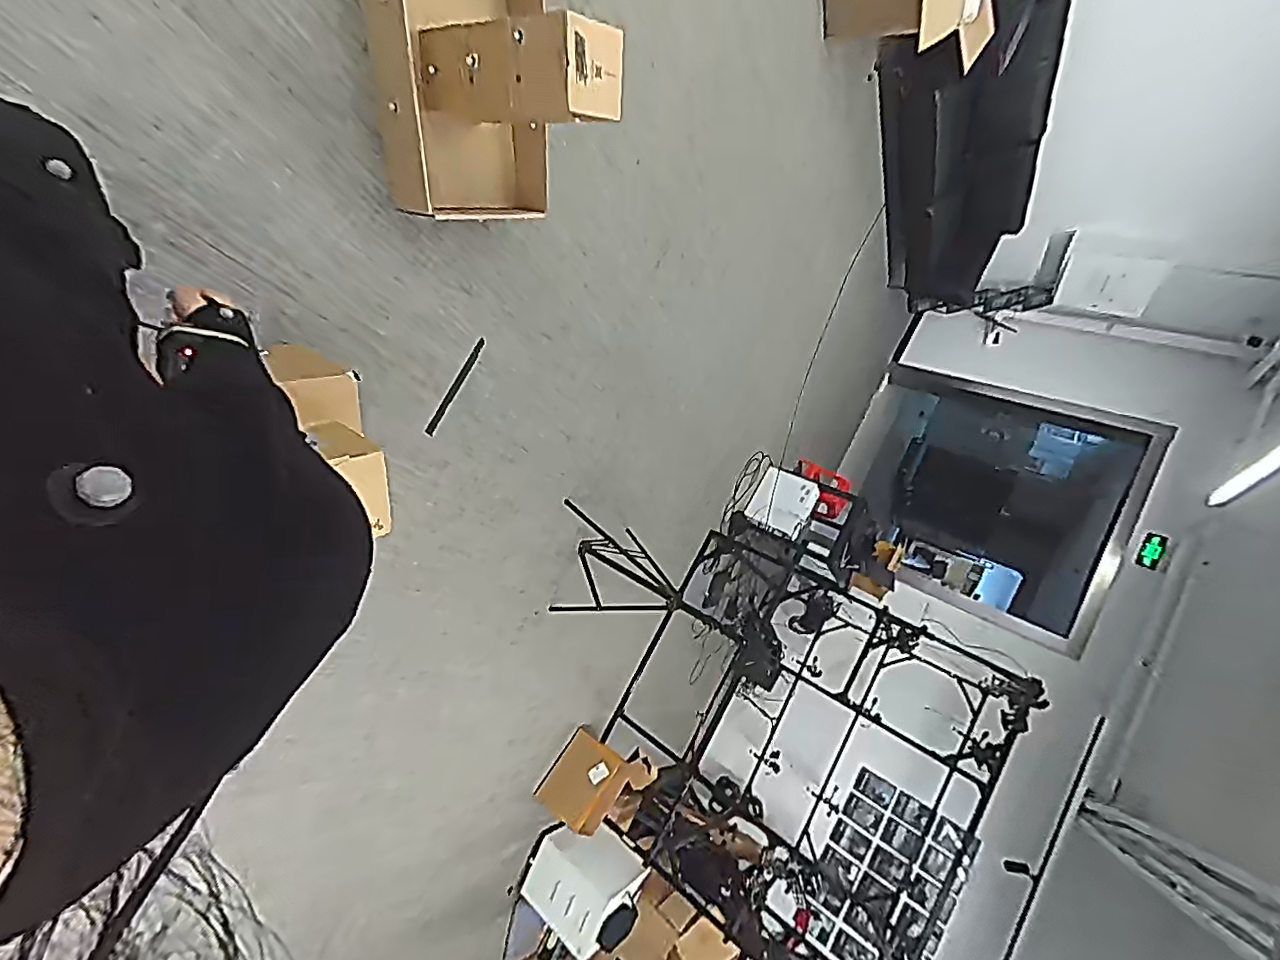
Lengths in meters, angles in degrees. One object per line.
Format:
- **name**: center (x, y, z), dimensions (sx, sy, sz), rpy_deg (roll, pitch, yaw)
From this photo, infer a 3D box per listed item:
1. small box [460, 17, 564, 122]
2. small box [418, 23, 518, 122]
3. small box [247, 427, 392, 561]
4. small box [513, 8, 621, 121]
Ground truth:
- **small box**: center (-0.294, -0.946, 1.260), dimensions (0.179, 0.176, 0.168), rpy_deg (-27, 131, -45)
- **small box**: center (-0.421, -1.002, 1.343), dimensions (0.179, 0.176, 0.168), rpy_deg (-26, 131, -46)
- **small box**: center (-0.577, 0.012, 0.979), dimensions (0.168, 0.176, 0.179), rpy_deg (-24, 129, -47)
- **small box**: center (-0.162, -0.892, 1.178), dimensions (0.179, 0.176, 0.168), rpy_deg (-30, 134, -46)
